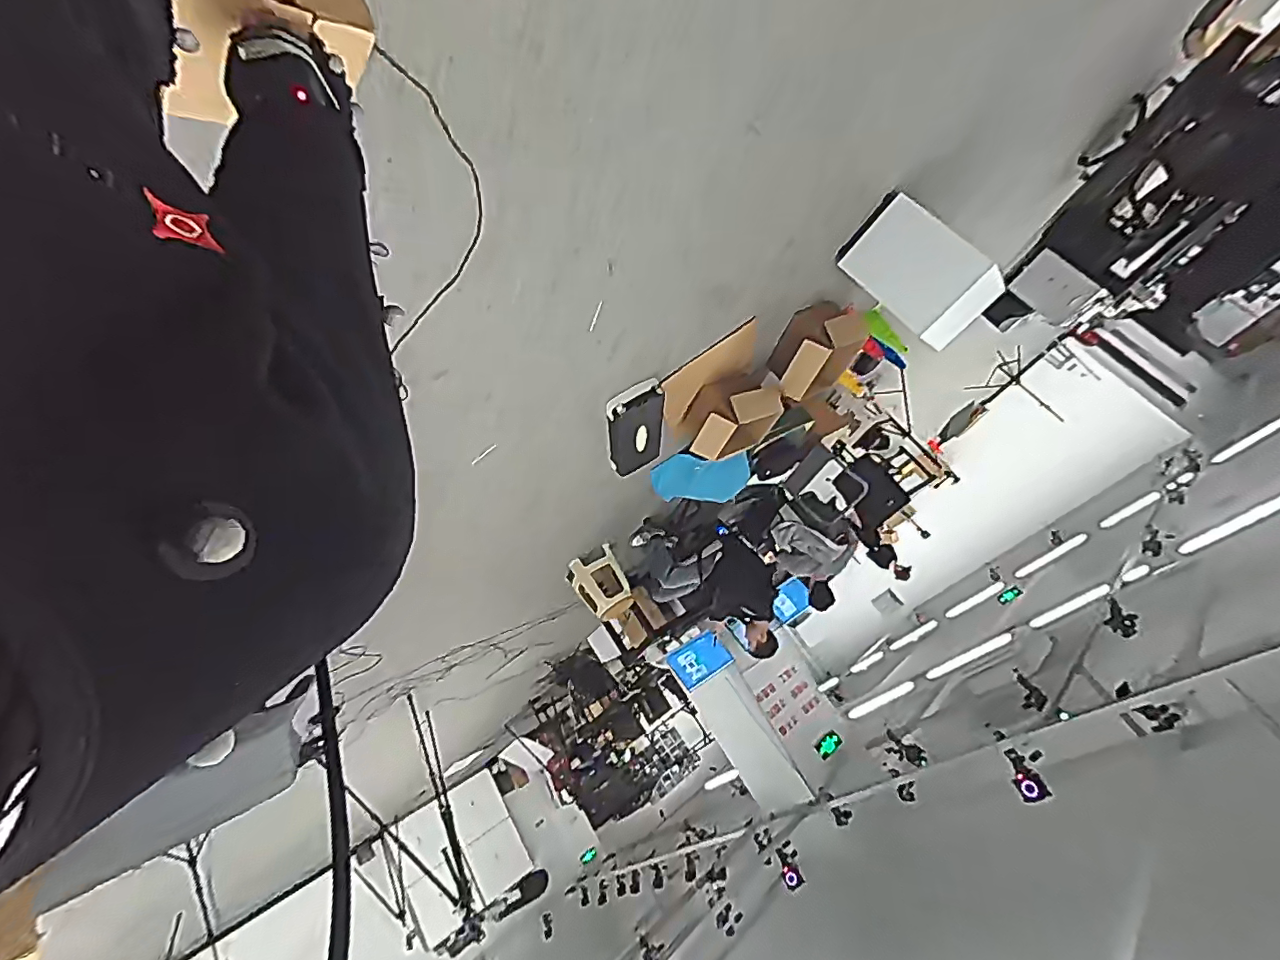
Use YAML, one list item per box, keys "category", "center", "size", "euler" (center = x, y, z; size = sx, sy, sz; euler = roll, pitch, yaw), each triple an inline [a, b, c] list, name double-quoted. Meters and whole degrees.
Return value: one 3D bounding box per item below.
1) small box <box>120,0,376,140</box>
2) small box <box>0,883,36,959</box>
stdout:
- category: "small box"
  center: [-0.402, -0.487, 0.545]
  size: [0.176, 0.179, 0.168]
  euler: [-22, 180, 43]
- category: "small box"
  center: [-1.458, 1.033, 1.185]
  size: [0.168, 0.176, 0.179]
  euler: [-7, 143, -51]
